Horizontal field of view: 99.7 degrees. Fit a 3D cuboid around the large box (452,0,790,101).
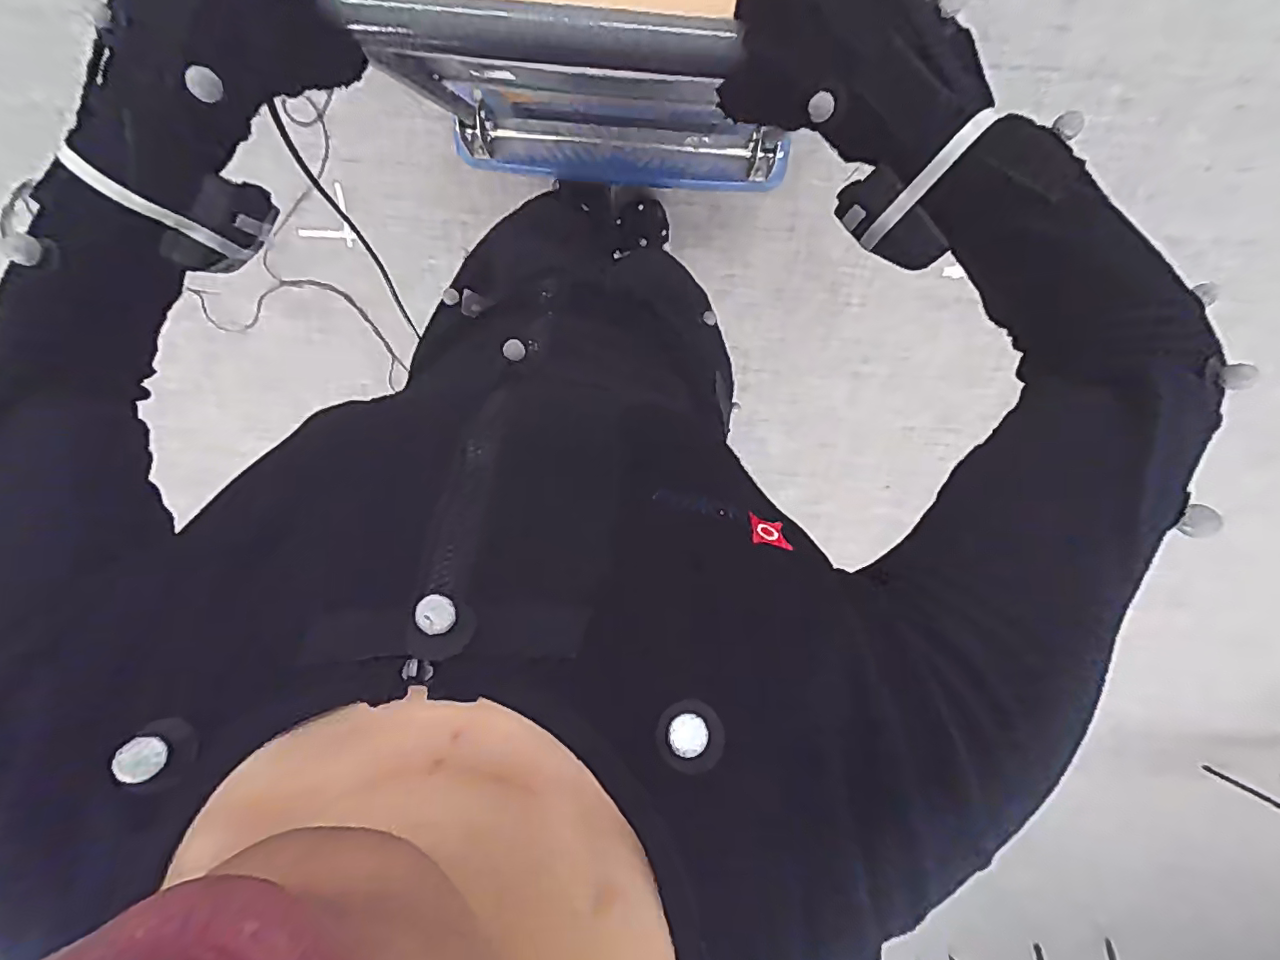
[{"bbox_3d":[-0.029,-0.736,0.720,0.408,0.320,0.320,-1,112,0],"label":"large box"}]
